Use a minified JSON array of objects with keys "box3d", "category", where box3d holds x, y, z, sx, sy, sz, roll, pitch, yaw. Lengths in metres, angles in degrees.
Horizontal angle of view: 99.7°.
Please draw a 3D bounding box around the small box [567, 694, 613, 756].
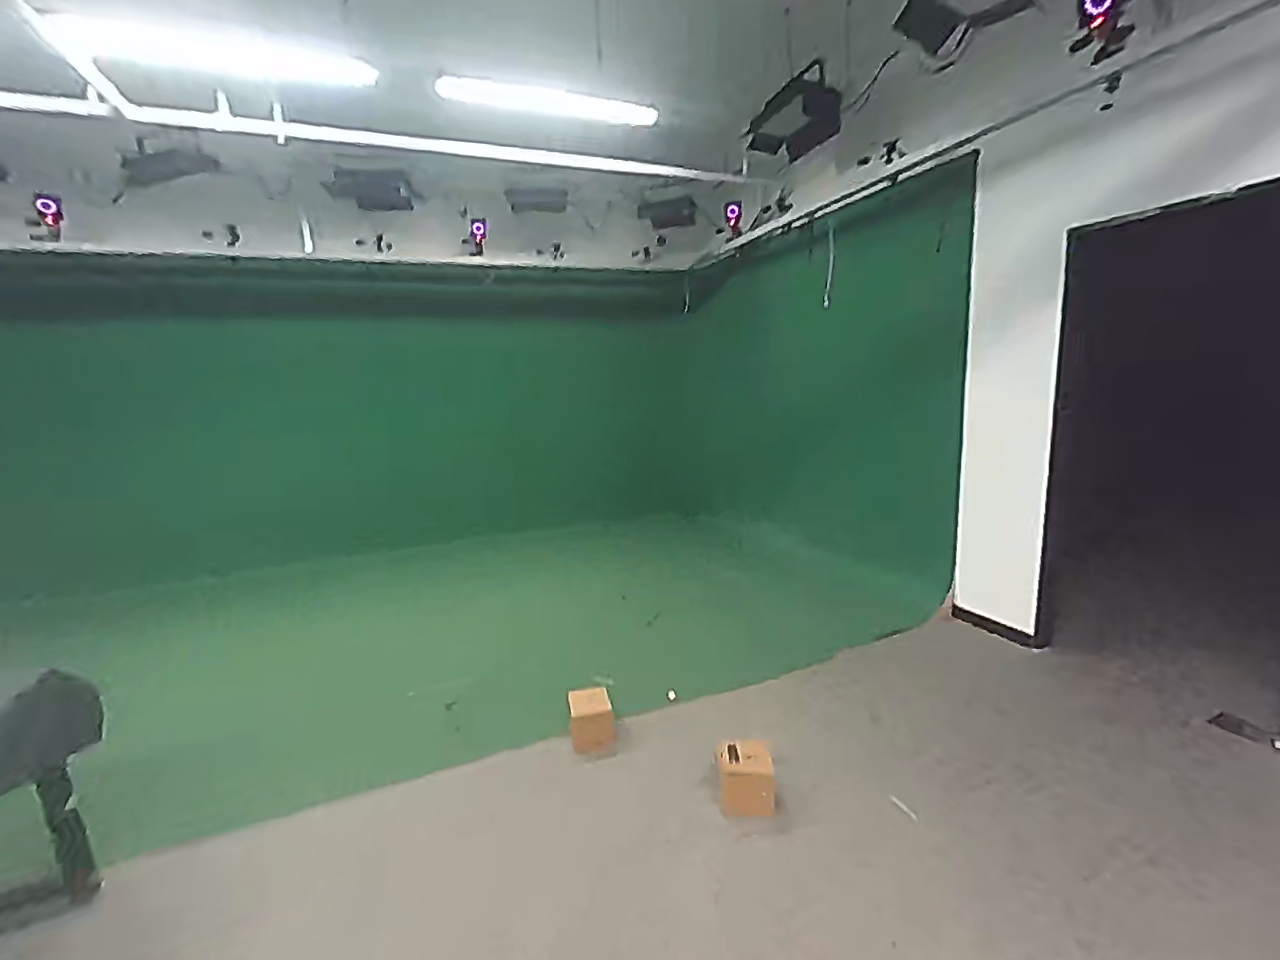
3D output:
[{"box3d":[-0.209,1.024,2.250,0.168,0.176,0.179,-4,9,-14],"category":"small box"}]
